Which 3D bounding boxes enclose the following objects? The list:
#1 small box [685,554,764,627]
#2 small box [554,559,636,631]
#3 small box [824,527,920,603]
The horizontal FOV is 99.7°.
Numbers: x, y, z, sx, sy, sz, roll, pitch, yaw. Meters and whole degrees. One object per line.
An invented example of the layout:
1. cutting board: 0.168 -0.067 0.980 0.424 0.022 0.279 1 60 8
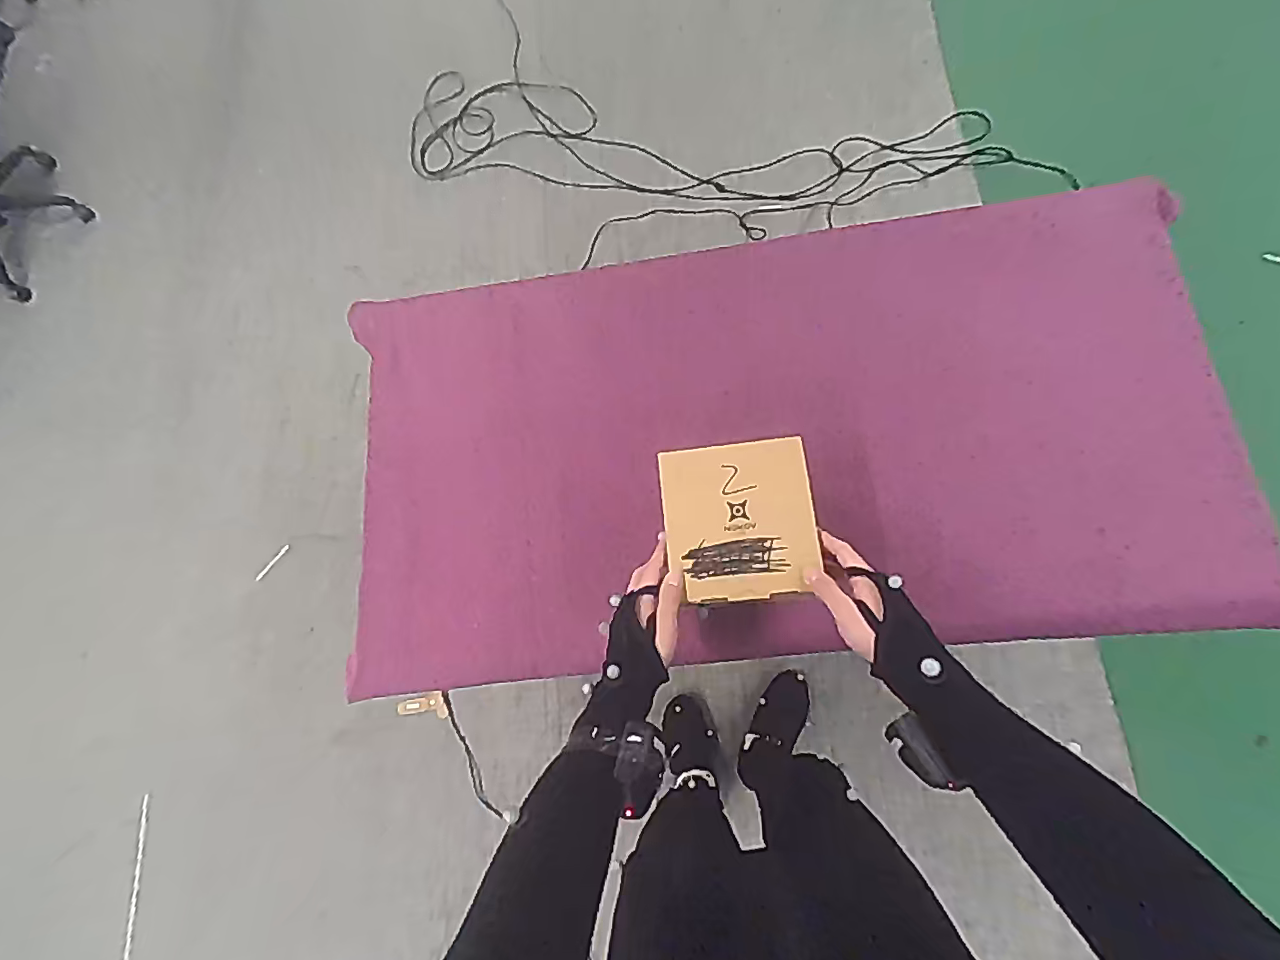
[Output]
1. small box: 0.209 0.279 1.356 0.179 0.176 0.168 -6 75 8
2. small box: -0.113 0.302 1.398 0.179 0.176 0.168 -7 75 6
3. small box: 0.554 0.212 1.320 0.179 0.176 0.168 -4 76 8
